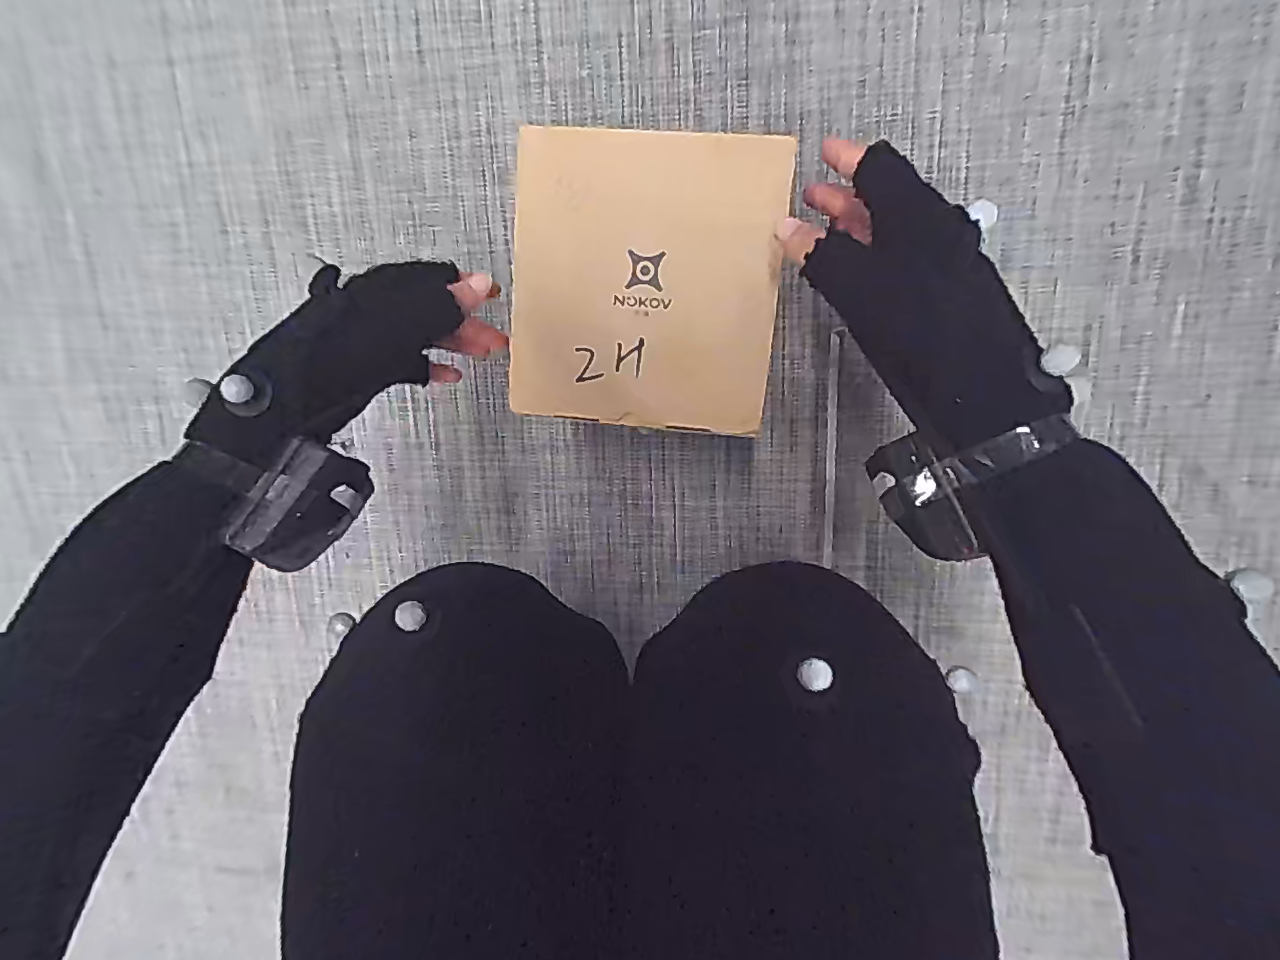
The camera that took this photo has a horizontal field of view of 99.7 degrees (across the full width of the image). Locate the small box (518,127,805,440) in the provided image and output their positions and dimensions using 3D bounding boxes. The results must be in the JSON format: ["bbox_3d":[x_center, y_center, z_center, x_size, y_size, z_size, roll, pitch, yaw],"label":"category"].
[{"bbox_3d":[0.016,-0.134,0.415,0.168,0.176,0.179,7,101,5],"label":"small box"}]
